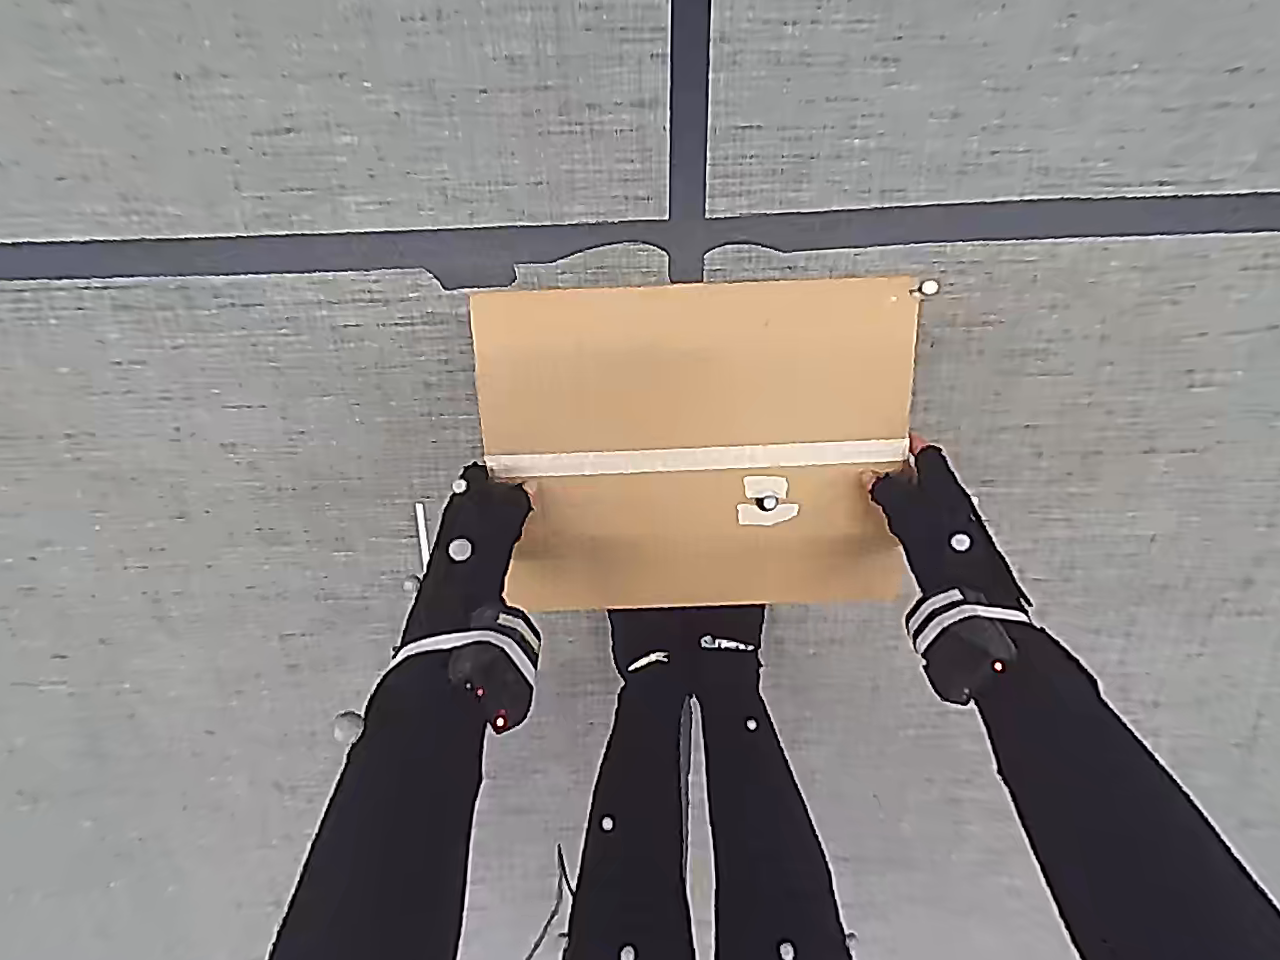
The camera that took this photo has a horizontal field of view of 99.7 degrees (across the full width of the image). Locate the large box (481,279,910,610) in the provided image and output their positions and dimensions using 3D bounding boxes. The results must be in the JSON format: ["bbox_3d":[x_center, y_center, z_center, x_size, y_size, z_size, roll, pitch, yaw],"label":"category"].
[{"bbox_3d":[0.055,-0.057,0.673,0.408,0.320,0.320,-3,104,0],"label":"large box"}]
